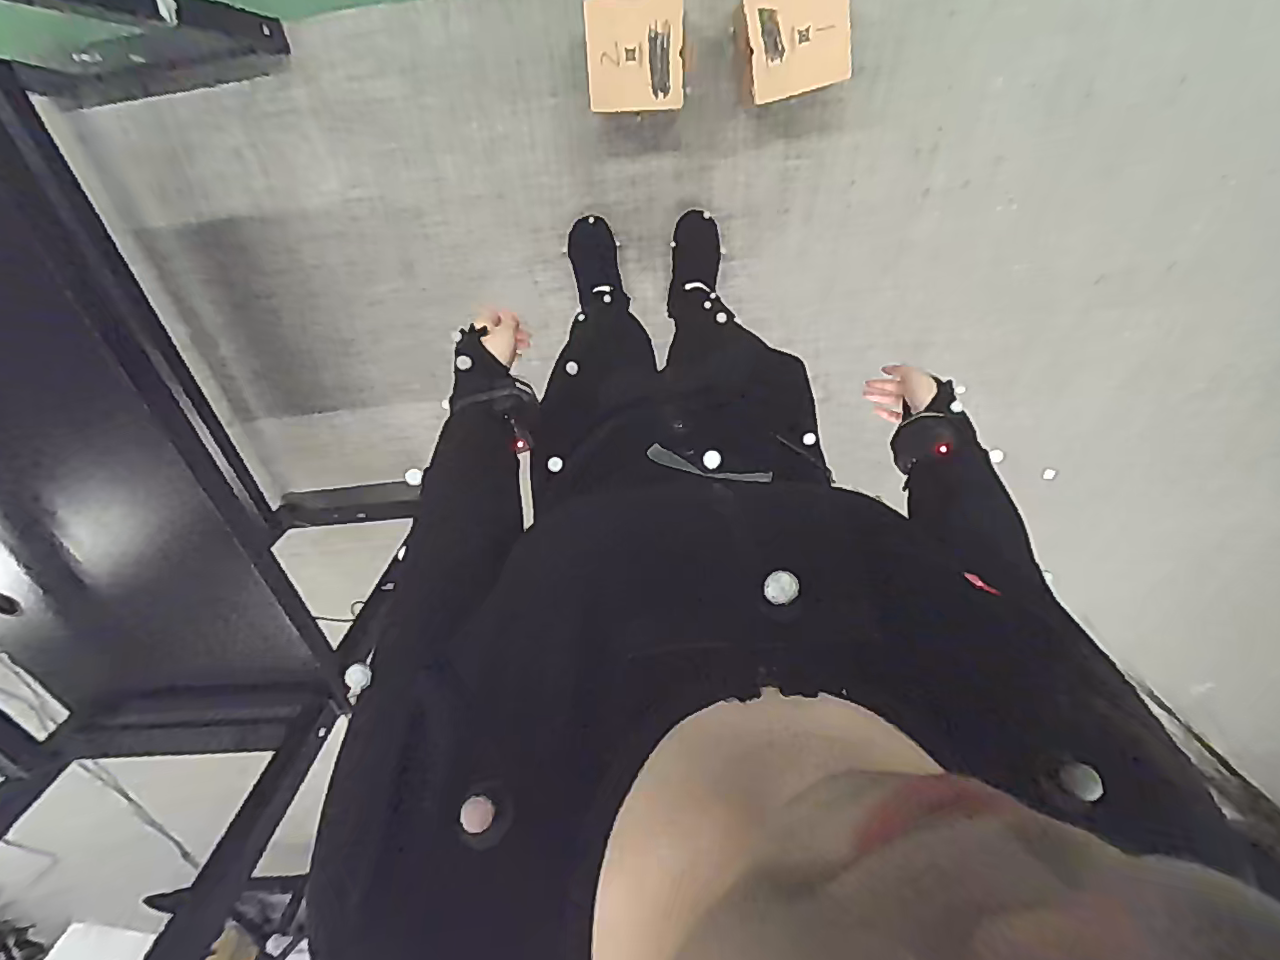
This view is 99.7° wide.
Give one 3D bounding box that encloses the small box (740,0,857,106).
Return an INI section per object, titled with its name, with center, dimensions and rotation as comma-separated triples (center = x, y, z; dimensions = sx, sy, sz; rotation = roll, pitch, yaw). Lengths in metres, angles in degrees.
[small box]
center = 0.283, -0.808, 0.994
dimensions = 0.179, 0.176, 0.168
rotation = -11, 122, 9
